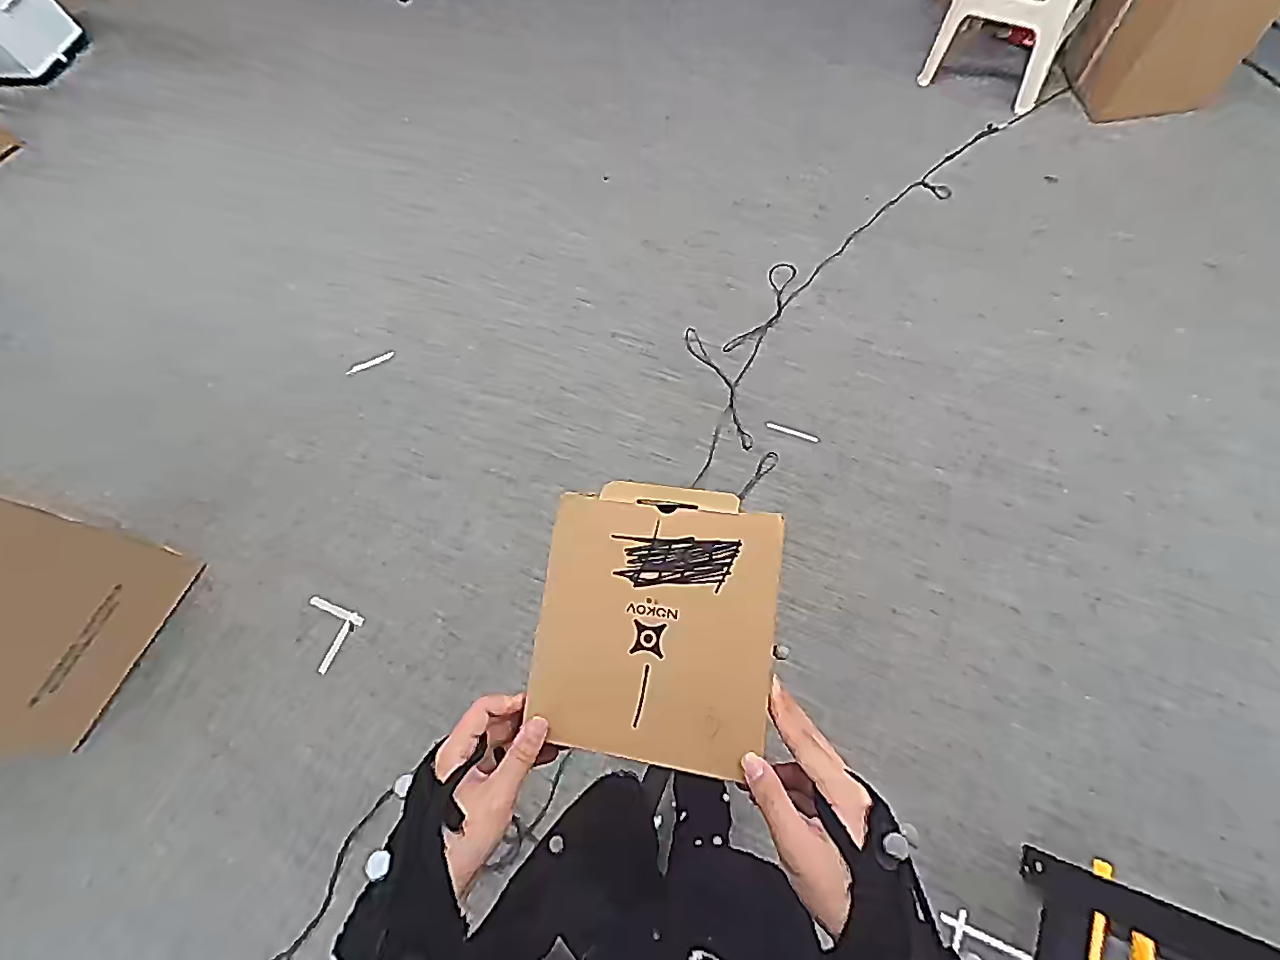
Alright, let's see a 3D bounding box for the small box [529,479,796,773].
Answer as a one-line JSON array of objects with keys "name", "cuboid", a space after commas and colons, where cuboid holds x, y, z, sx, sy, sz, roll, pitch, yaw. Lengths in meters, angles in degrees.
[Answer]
[{"name": "small box", "cuboid": [0.029, 0.111, 0.447, 0.168, 0.176, 0.179, 6, 77, 12]}]
